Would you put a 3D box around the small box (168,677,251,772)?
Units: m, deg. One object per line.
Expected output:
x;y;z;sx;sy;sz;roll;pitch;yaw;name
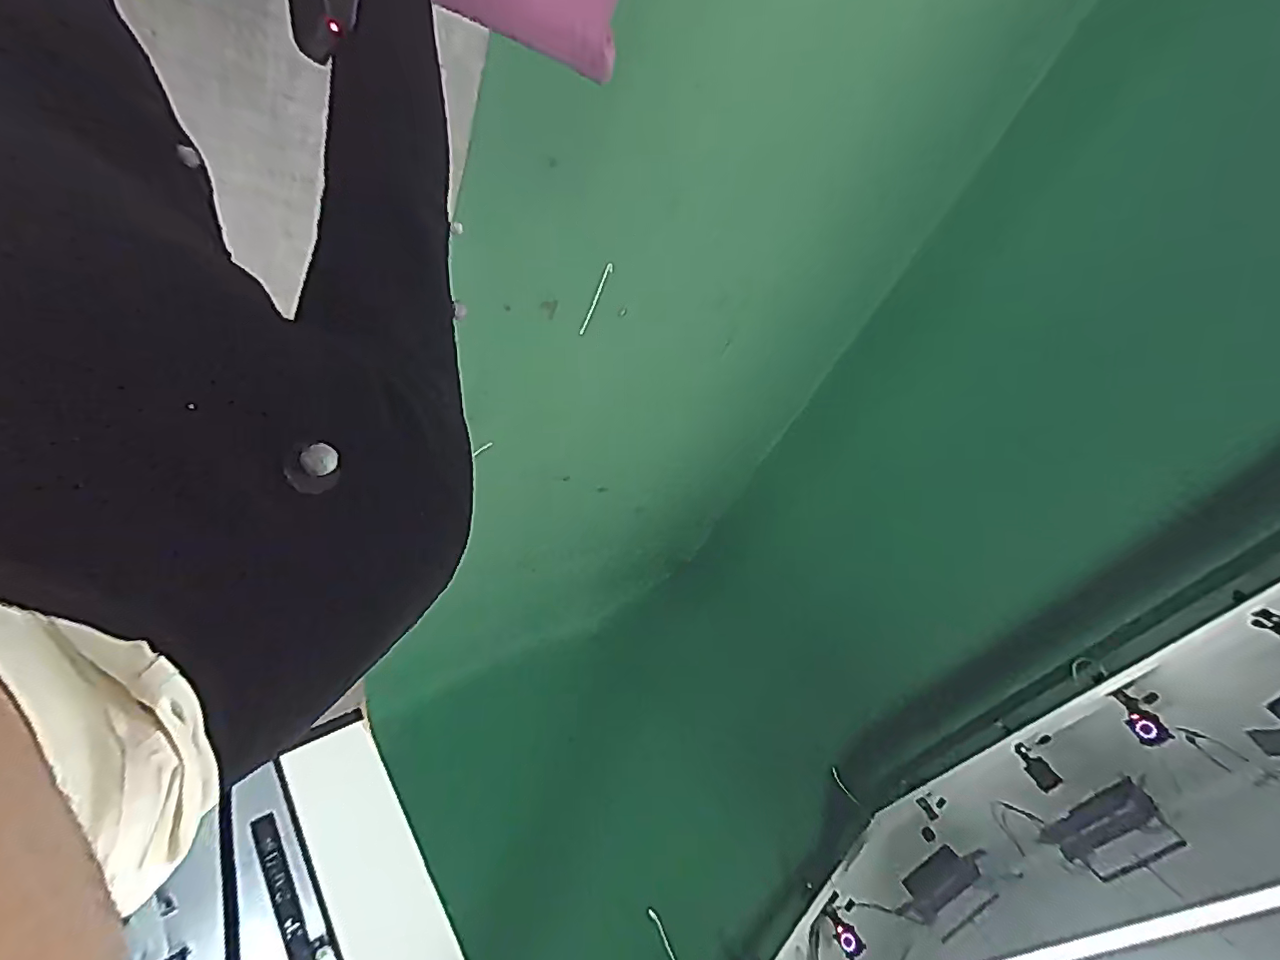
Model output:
-1.285;0.722;1.611;0.168;0.176;0.179;-9;140;-47;small box

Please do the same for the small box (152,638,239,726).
-1.387;0.621;1.685;0.179;0.176;0.168;-9;139;-48;small box

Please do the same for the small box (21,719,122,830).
-1.469;0.748;1.397;0.168;0.176;0.179;-5;138;-49;small box
